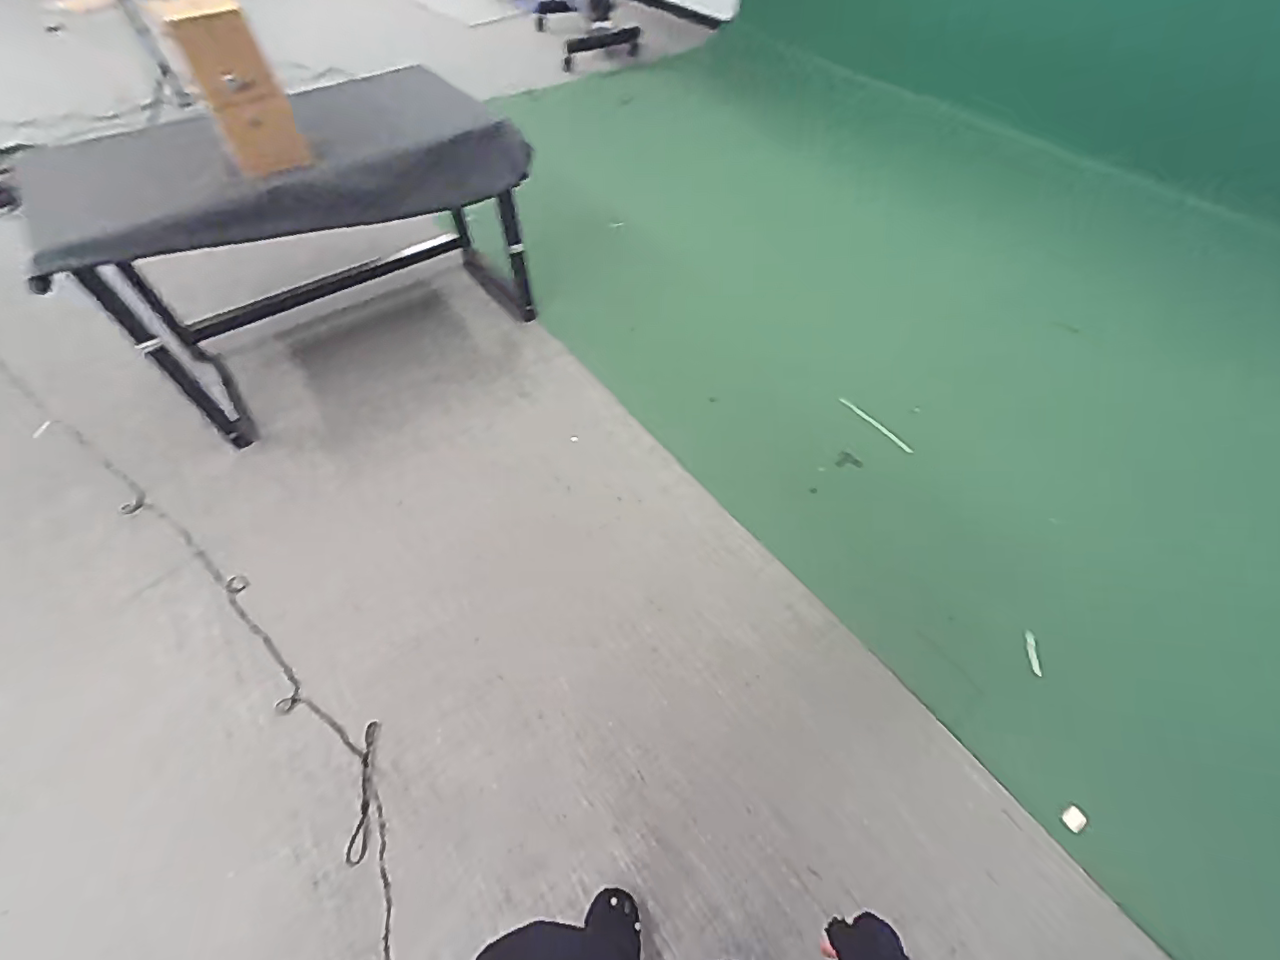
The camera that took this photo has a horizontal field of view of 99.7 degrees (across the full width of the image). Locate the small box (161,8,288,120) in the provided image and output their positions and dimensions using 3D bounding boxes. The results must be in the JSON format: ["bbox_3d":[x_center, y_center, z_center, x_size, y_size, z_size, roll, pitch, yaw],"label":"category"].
[{"bbox_3d":[-1.003,-1.009,1.314,0.168,0.176,0.179,-33,61,-21],"label":"small box"}]

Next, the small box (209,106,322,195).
[{"bbox_3d":[-0.999,-0.895,1.452,0.179,0.176,0.168,-30,59,-21],"label":"small box"}]
